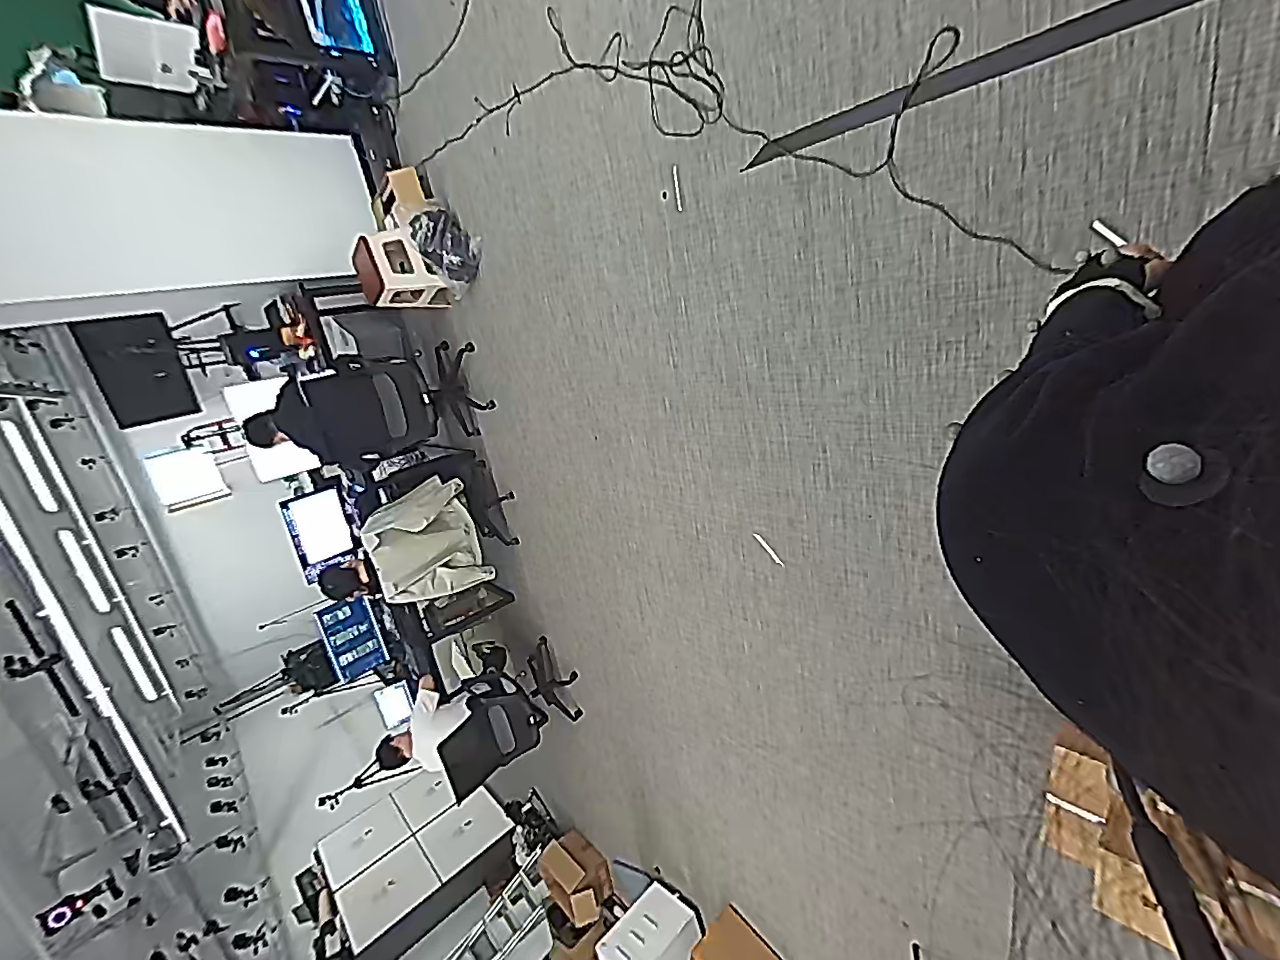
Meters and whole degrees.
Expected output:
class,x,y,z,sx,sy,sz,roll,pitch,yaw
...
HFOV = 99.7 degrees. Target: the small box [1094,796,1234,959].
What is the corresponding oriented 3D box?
class,x,y,z,sx,sy,sz,roll,pitch,yaw
small box,1.021,0.766,1.056,0.179,0.176,0.168,8,113,49
